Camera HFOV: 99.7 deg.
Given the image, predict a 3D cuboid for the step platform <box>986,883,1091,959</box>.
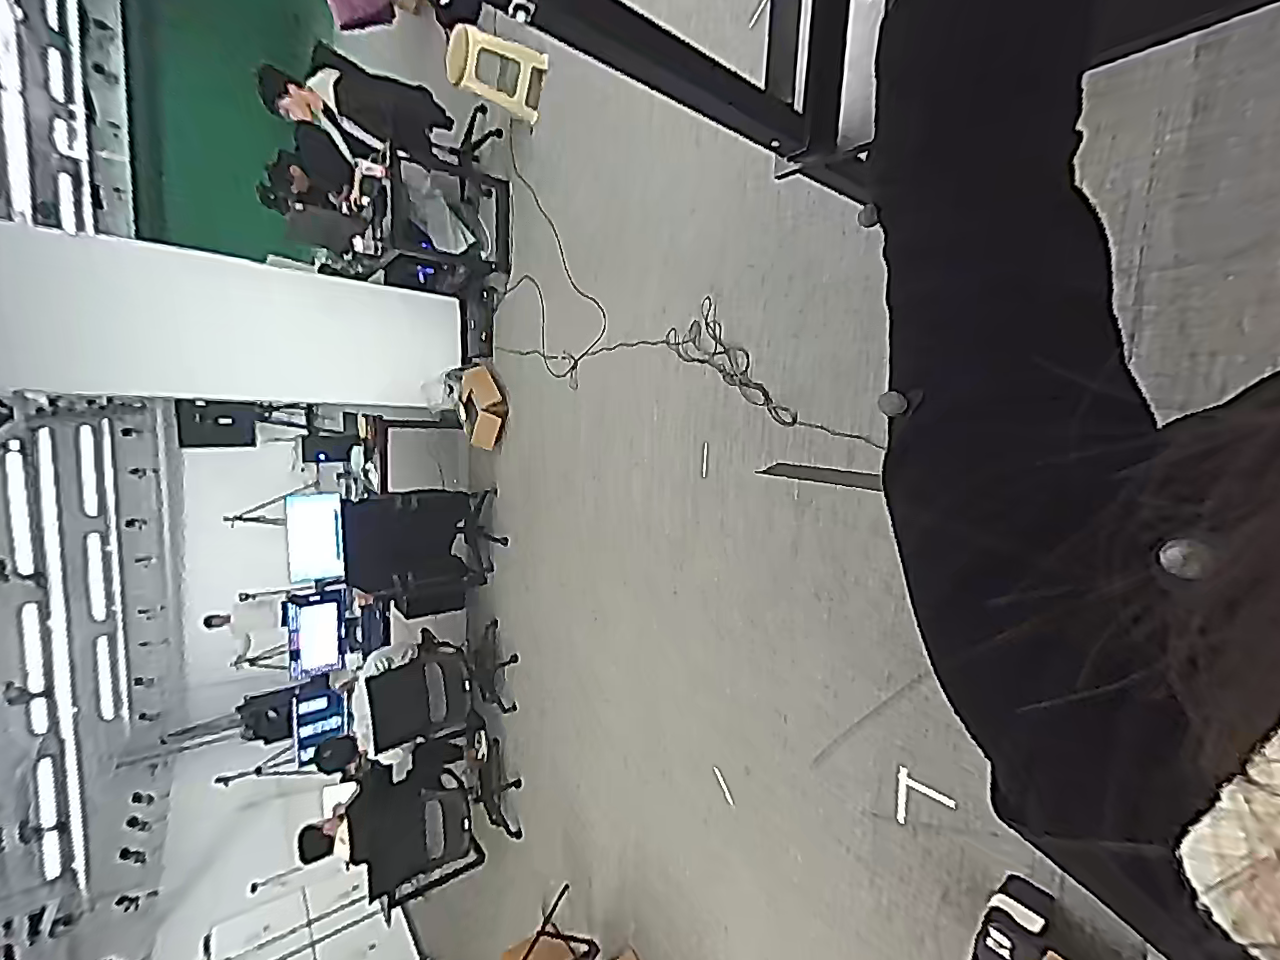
[{"bbox_3d":[1.068,1.192,1.055,0.684,0.204,0.286,20,108,49],"label":"step platform"}]
